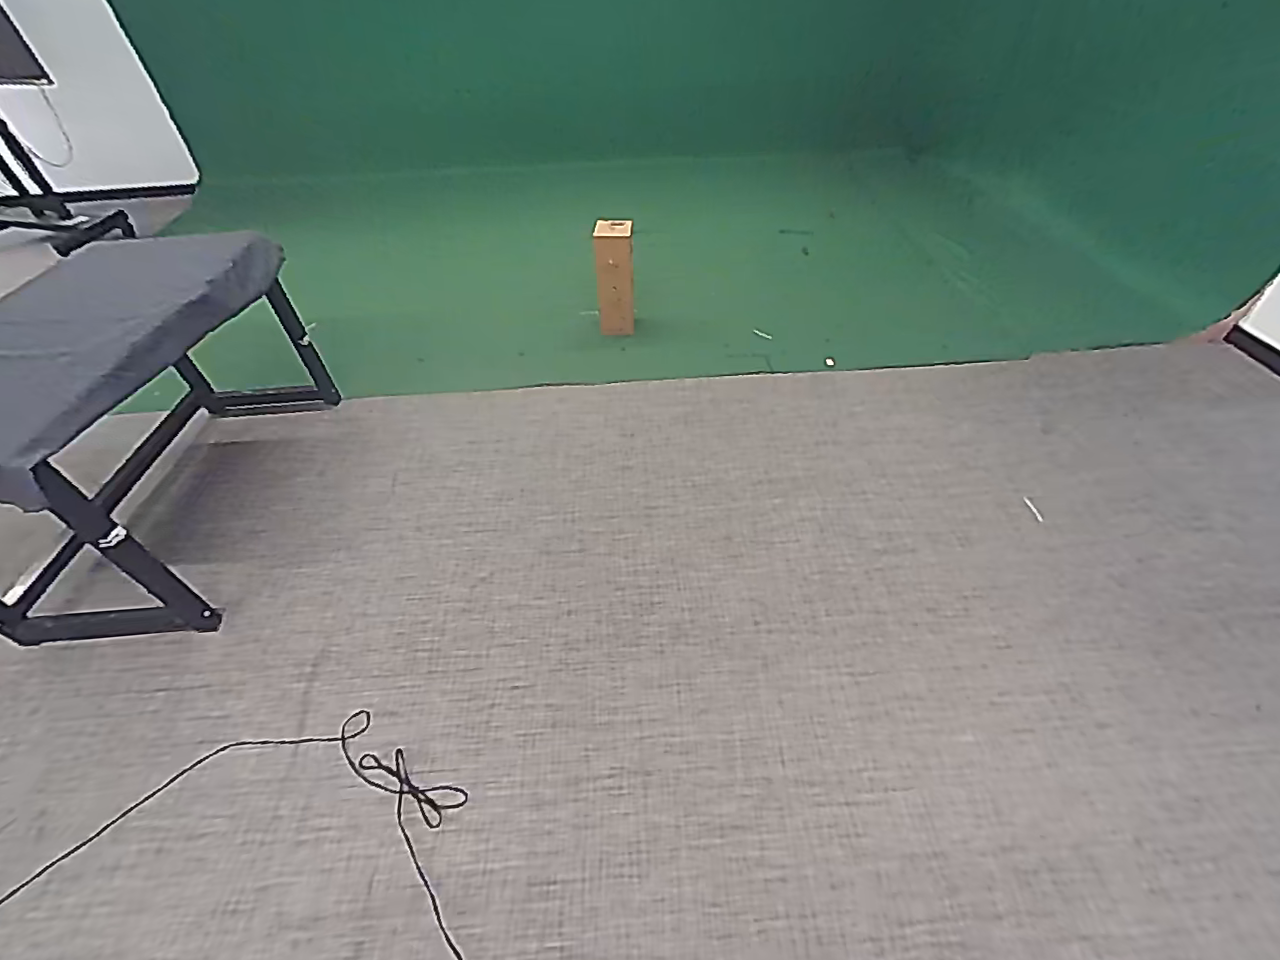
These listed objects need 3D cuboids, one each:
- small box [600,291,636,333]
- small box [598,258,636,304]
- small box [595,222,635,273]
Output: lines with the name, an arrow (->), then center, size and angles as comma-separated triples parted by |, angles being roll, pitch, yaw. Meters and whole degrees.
small box -> -0.106, -0.859, 2.736 | 0.168, 0.176, 0.179 | 3, 45, 2
small box -> -0.107, -0.968, 2.640 | 0.168, 0.176, 0.179 | 1, 46, 3
small box -> -0.113, -1.084, 2.522 | 0.168, 0.176, 0.179 | 1, 46, 3
